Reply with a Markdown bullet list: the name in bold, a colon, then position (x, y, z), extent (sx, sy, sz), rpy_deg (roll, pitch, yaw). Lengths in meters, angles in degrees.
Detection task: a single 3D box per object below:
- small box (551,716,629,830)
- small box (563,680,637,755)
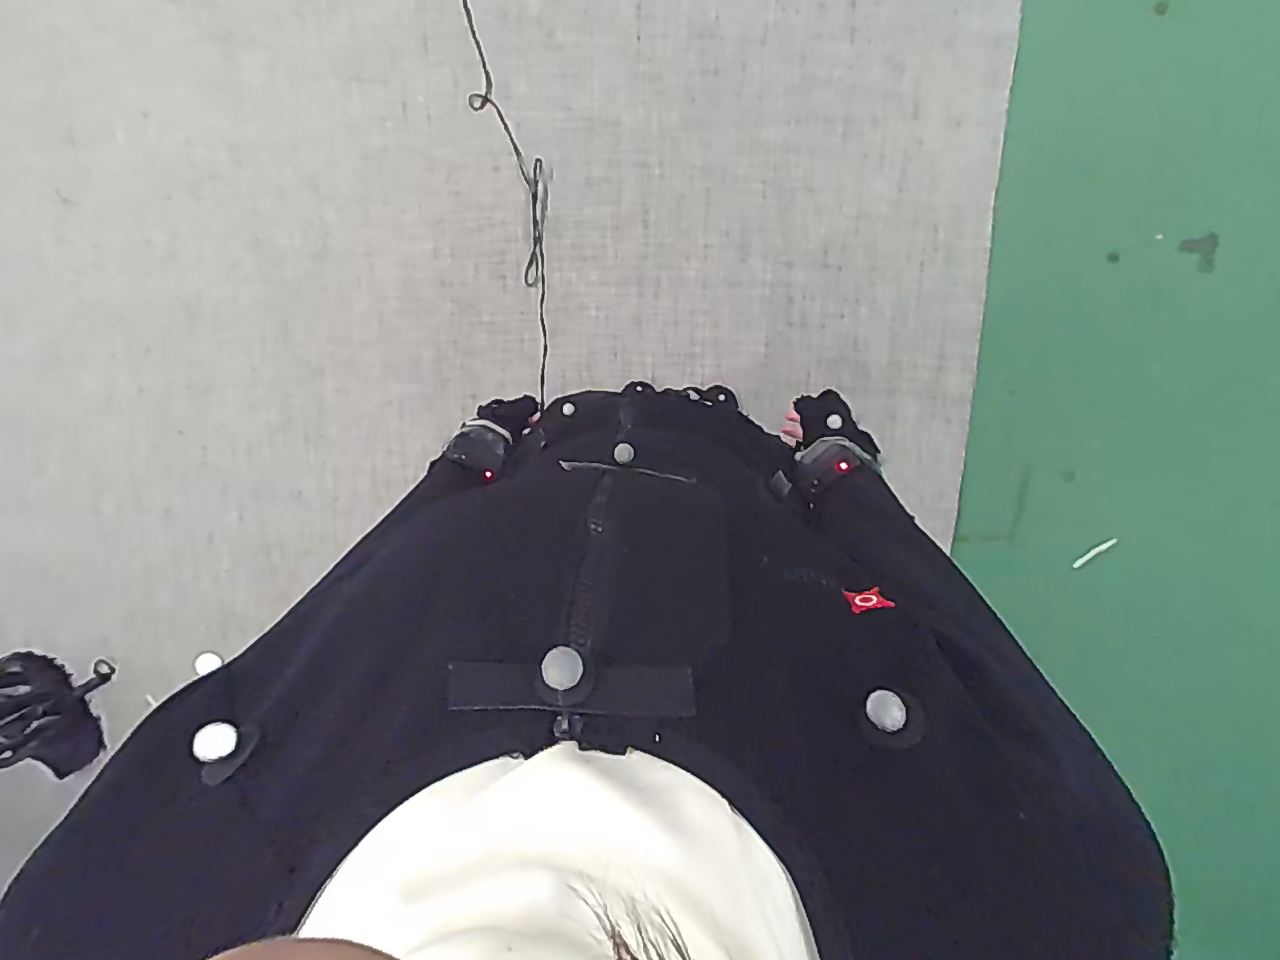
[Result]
- **small box**: position (-0.117, 0.713, 1.328), extent (0.168, 0.176, 0.179), rpy_deg (4, 99, 2)
- **small box**: position (-0.109, 0.672, 1.486), extent (0.179, 0.176, 0.168), rpy_deg (5, 101, 4)
